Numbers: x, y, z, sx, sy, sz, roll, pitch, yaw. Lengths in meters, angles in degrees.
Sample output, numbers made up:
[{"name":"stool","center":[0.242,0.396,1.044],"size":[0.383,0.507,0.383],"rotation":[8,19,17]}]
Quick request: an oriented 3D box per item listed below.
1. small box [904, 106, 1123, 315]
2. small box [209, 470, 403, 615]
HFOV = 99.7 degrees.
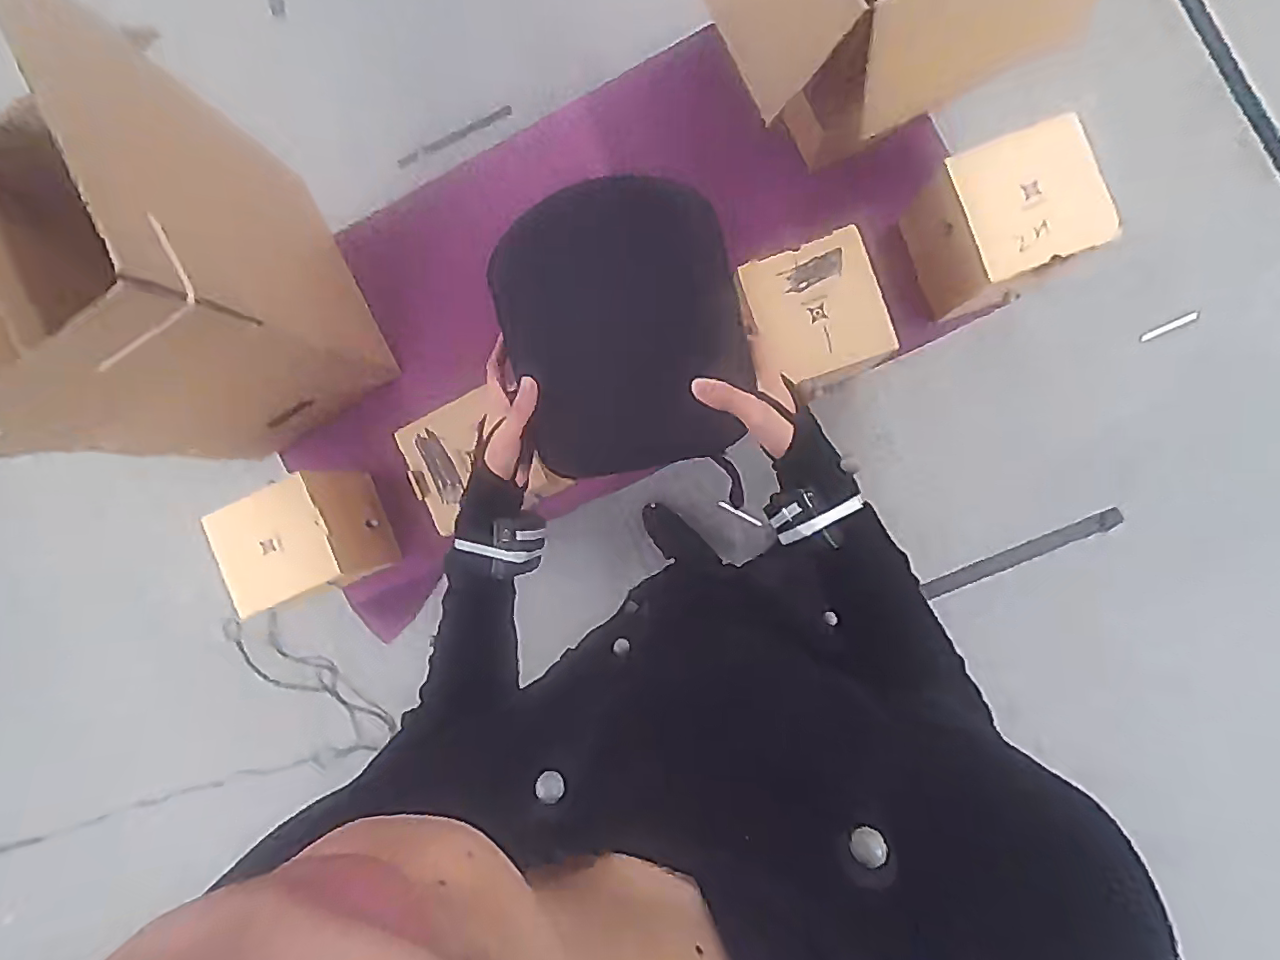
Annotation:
[{"name":"small box","center":[0.499,-0.359,0.755],"size":[0.168,0.176,0.179],"rotation":[-19,87,7]},{"name":"small box","center":[-0.525,0.096,0.872],"size":[0.179,0.176,0.168],"rotation":[-25,87,5]}]
